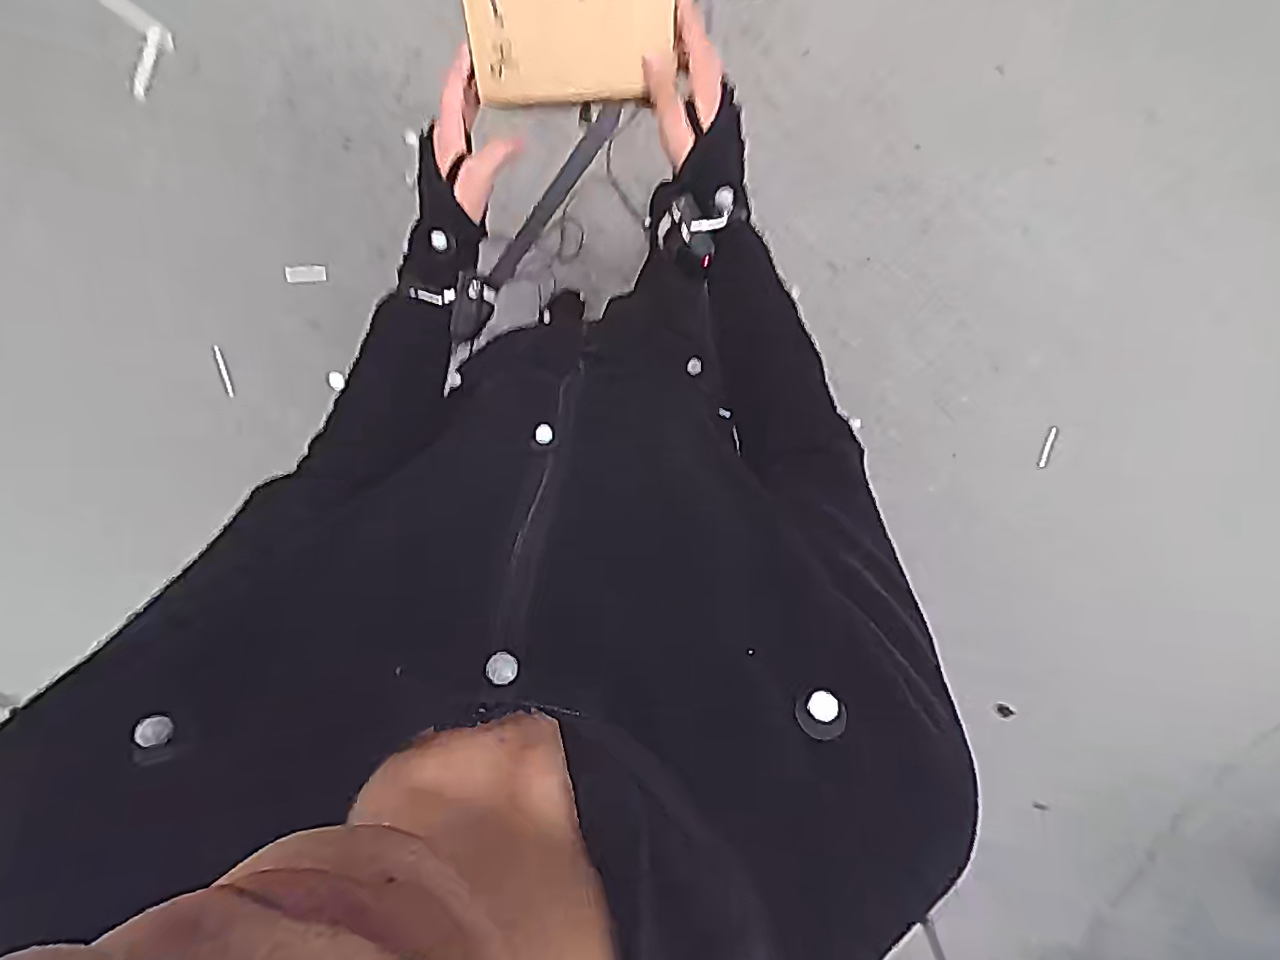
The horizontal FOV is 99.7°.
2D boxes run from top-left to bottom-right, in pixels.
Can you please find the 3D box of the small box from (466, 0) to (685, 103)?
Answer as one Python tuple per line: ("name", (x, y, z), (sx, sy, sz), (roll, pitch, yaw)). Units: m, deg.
("small box", (-0.058, -0.445, 0.484), (0.179, 0.176, 0.168), (-5, 123, -1))
